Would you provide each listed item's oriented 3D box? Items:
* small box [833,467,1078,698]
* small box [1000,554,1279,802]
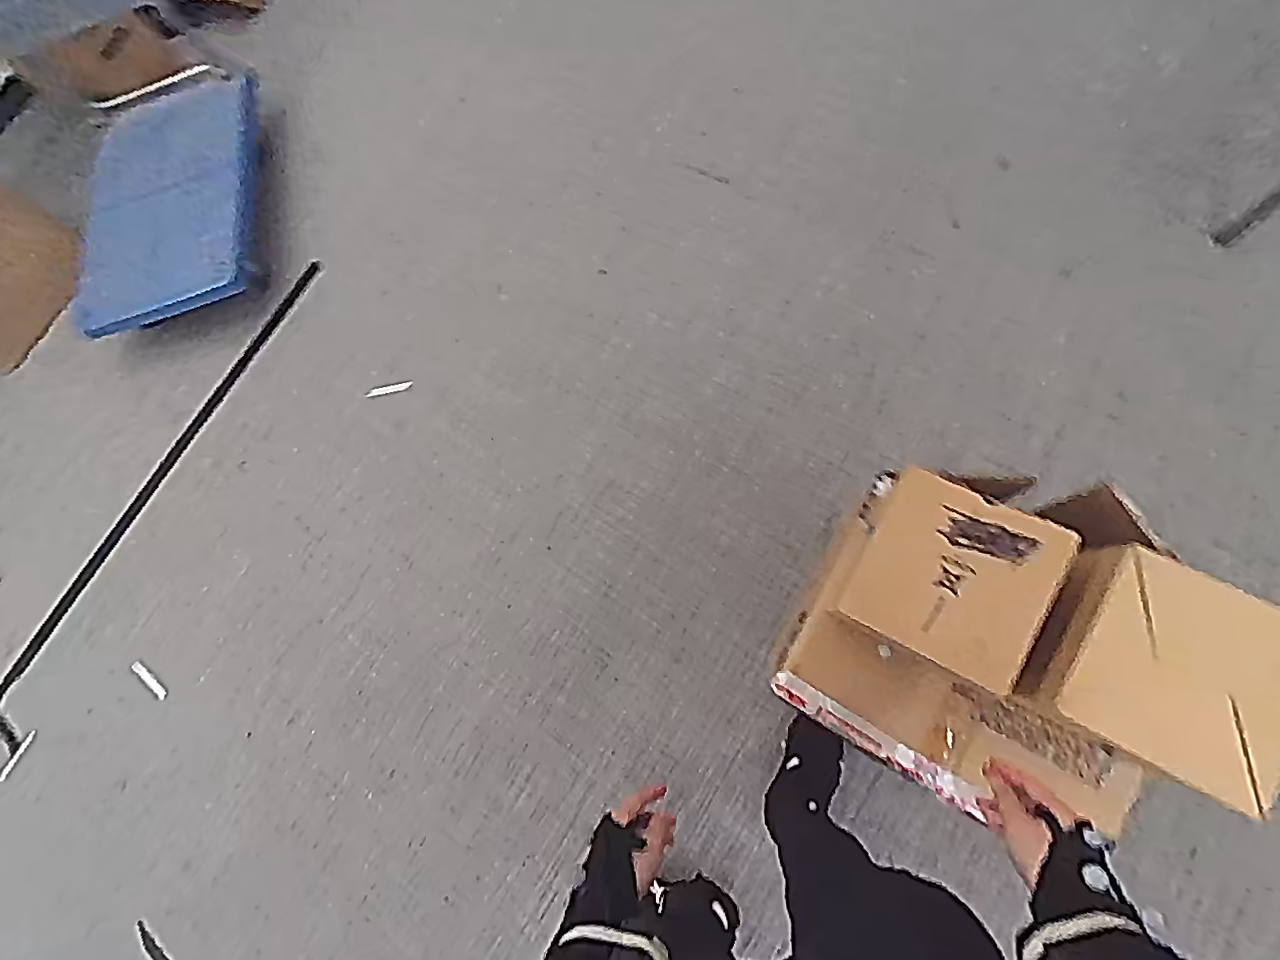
[{"bbox_3d":[0.332,0.114,0.613,0.168,0.176,0.179,28,85,20],"label":"small box"},{"bbox_3d":[0.502,0.191,0.550,0.168,0.176,0.179,28,85,15],"label":"small box"}]
